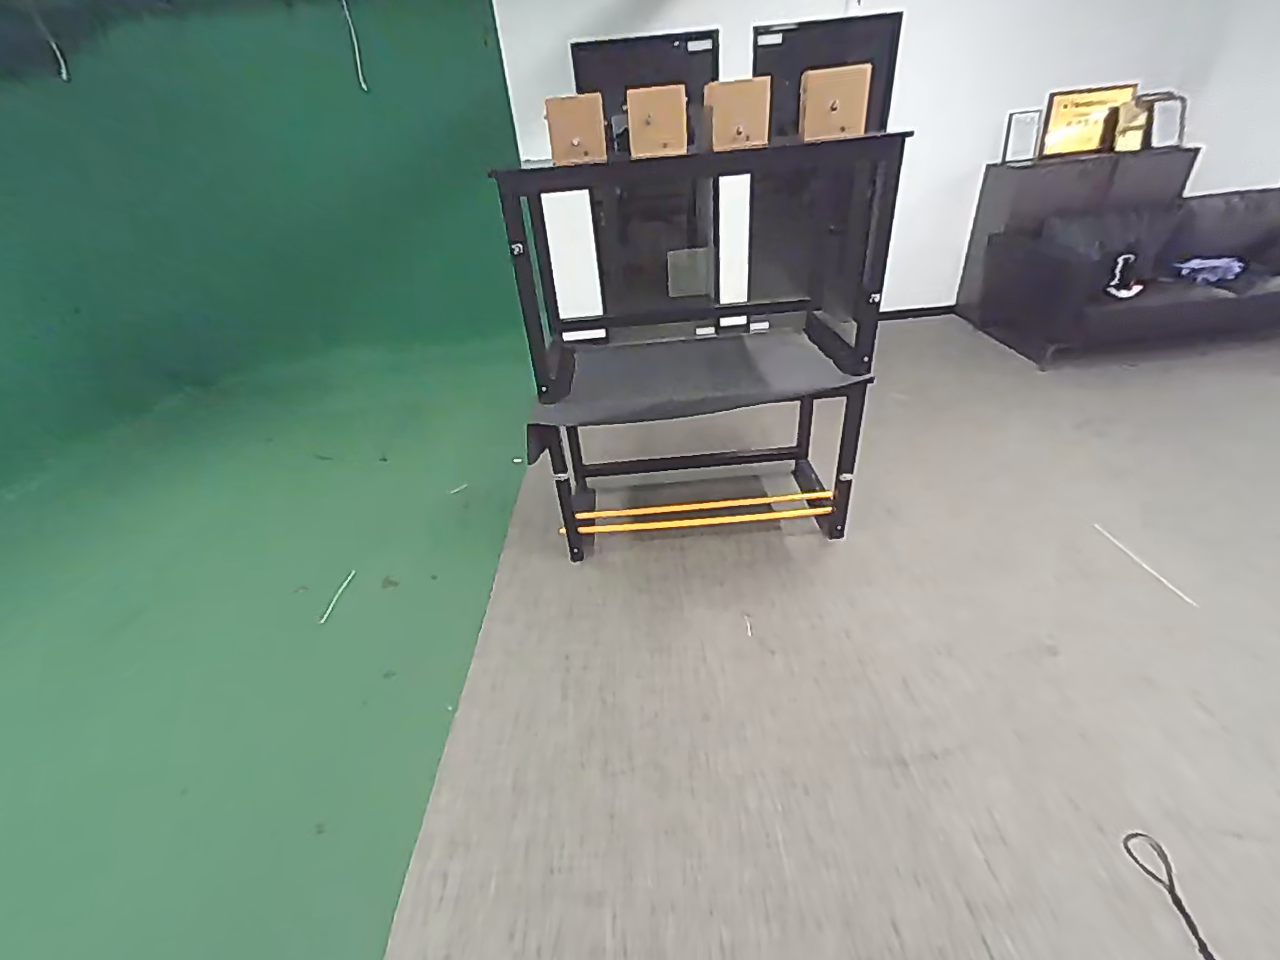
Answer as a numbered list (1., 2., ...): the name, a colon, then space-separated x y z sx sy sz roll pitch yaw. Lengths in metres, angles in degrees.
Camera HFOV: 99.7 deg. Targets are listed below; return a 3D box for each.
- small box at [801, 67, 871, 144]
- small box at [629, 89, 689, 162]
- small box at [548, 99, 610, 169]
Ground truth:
1. small box: 0.573 -1.101 1.598 0.168 0.176 0.179 0 33 10
2. small box: 0.060 -1.071 1.642 0.168 0.176 0.179 -4 32 3
3. small box: -0.185 -1.063 1.665 0.168 0.176 0.179 -7 33 -2
